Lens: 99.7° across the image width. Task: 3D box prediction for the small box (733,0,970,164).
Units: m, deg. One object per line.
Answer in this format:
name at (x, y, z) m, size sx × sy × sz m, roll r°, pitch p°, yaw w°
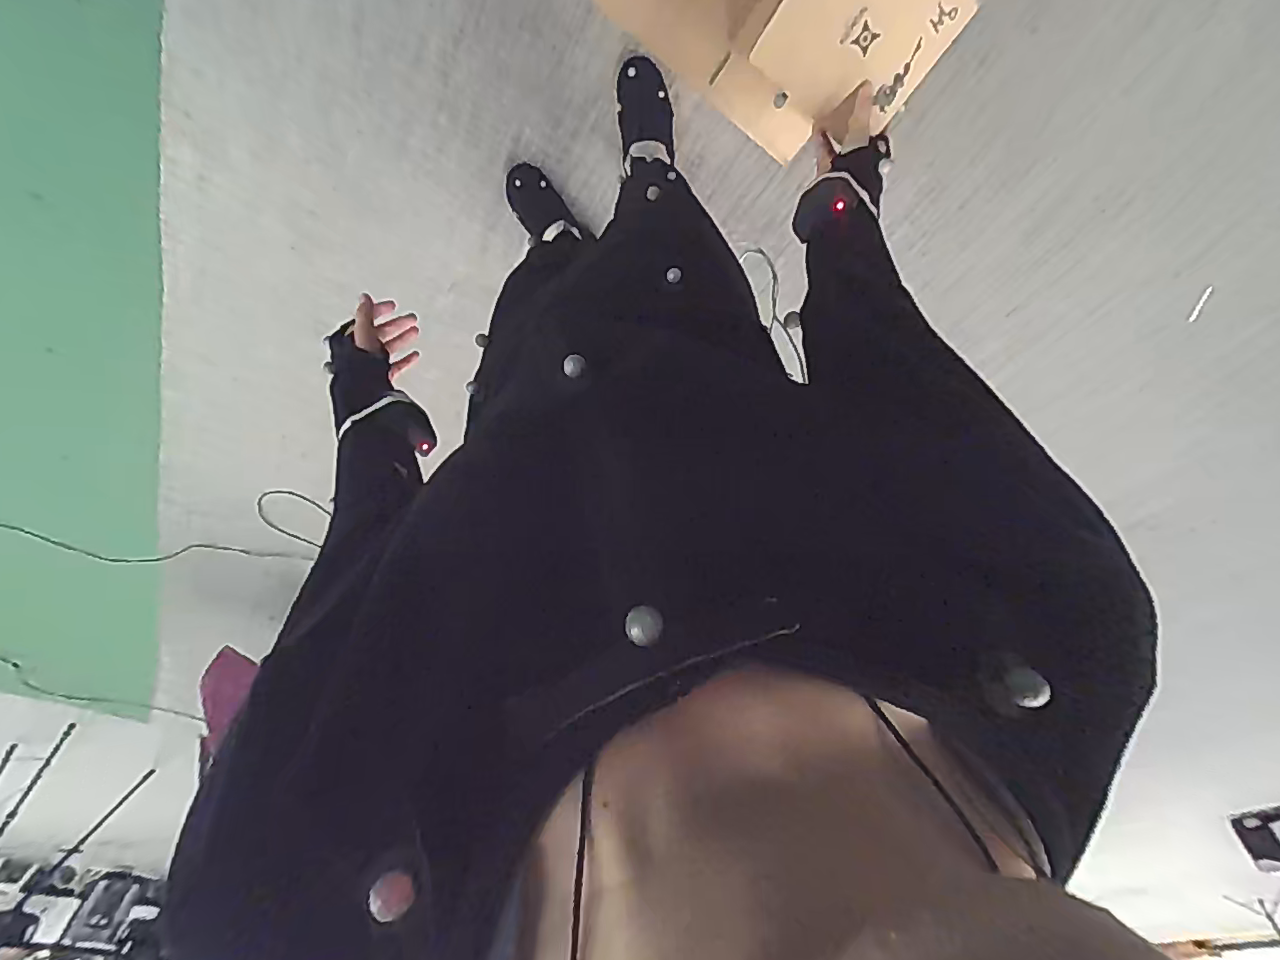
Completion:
small box at (0.226, -0.509, 0.629) m, size 0.179 × 0.176 × 0.168 m, roll 28°, pitch 126°, yaw -18°
